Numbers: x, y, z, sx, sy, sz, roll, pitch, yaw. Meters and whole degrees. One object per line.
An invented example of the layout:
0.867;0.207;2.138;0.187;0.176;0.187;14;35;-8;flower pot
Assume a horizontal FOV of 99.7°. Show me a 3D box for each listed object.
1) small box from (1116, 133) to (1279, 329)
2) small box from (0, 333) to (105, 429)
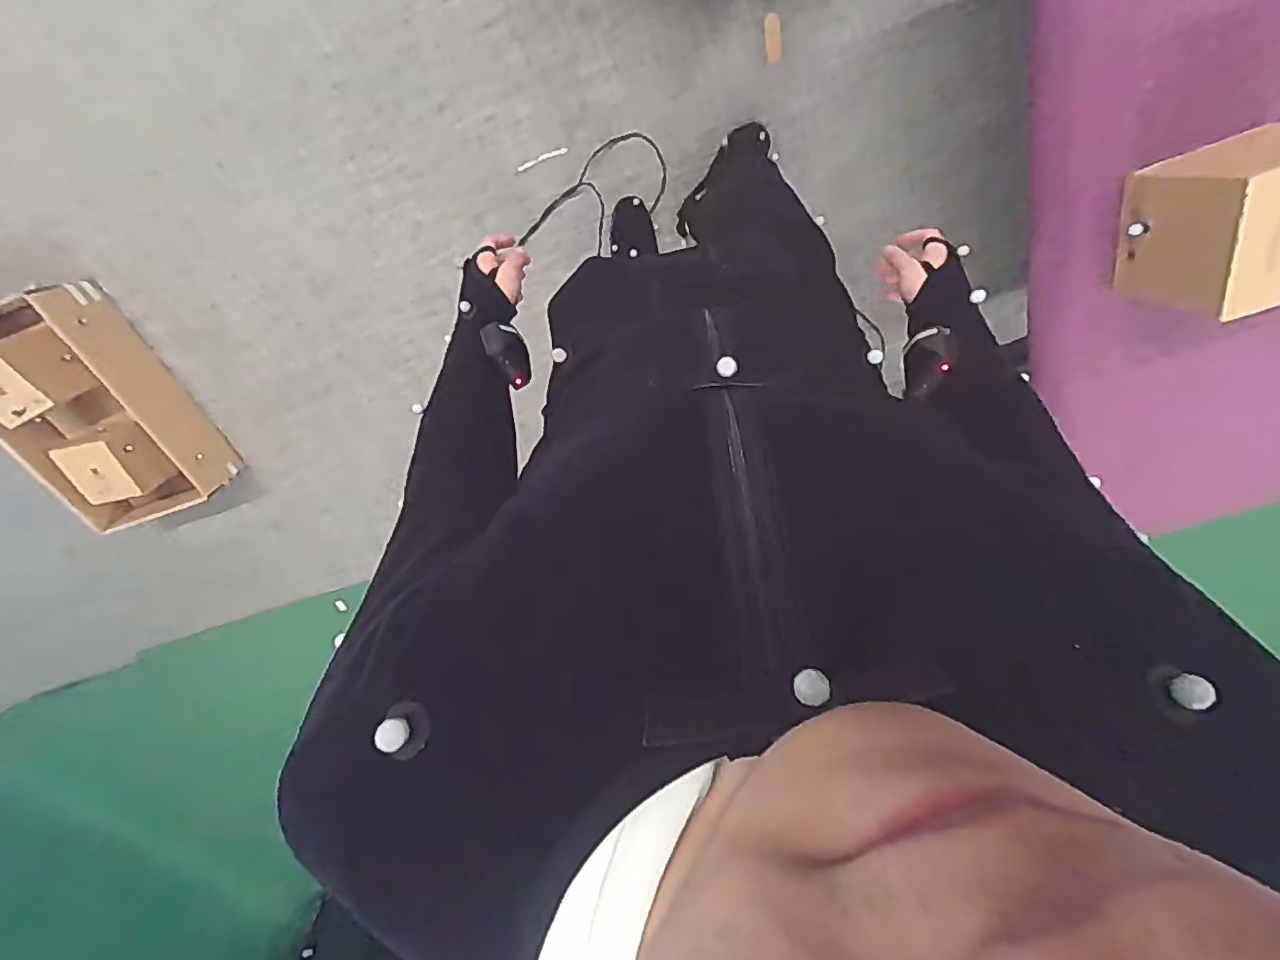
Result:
0.748;-0.310;0.661;0.179;0.176;0.168;-17;119;8;small box
-1.585;-0.266;1.407;0.168;0.176;0.179;-21;120;10;small box
